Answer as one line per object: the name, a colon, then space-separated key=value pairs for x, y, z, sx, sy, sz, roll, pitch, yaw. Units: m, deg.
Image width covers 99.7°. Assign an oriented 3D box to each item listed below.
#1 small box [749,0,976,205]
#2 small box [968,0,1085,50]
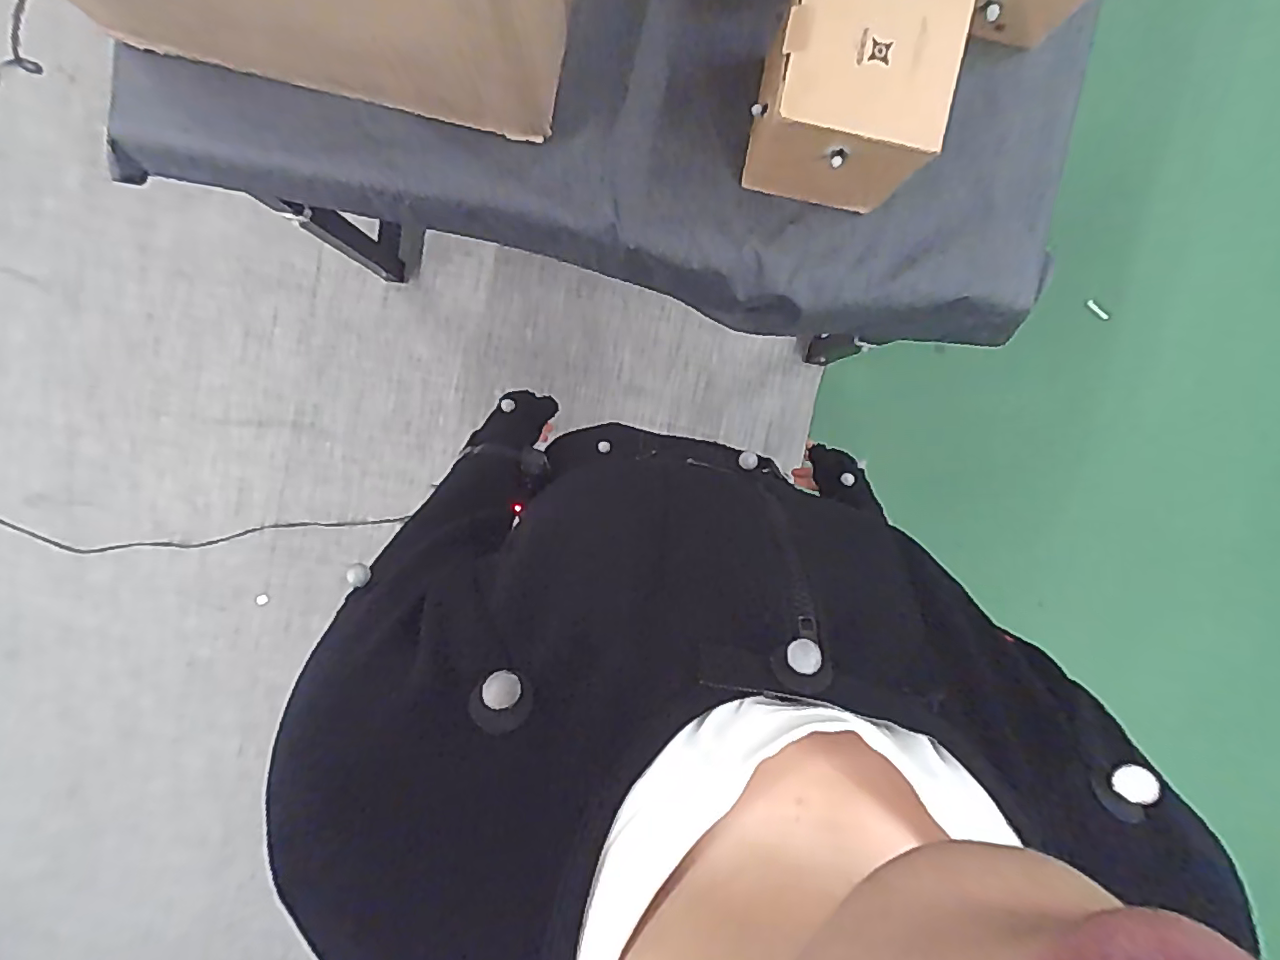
small box: x=0.239 y=-0.446 z=0.627 sx=0.179 sy=0.176 sz=0.168 roll=11 pitch=96 yaw=-4
small box: x=0.455 y=-0.653 z=0.614 sx=0.168 sy=0.176 sz=0.179 roll=13 pitch=96 yaw=-3
